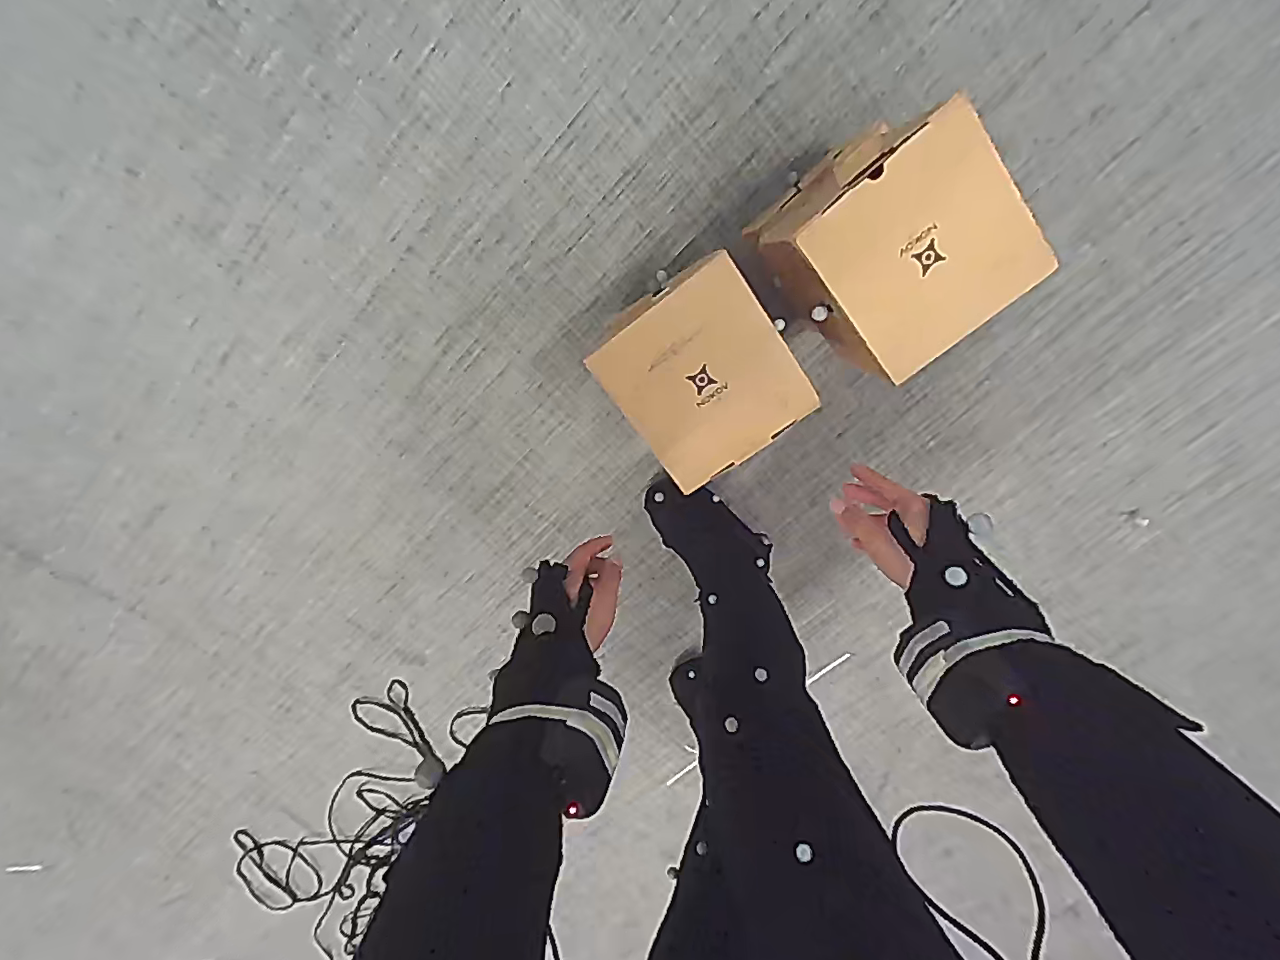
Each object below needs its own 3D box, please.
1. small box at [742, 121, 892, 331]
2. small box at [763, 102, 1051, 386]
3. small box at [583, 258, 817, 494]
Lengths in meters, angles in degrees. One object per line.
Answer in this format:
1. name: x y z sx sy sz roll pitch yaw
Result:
1. small box: 0.252 -0.303 0.693 0.168 0.176 0.179 -38 105 14
2. small box: 0.250 -0.227 0.548 0.168 0.176 0.179 -39 106 15
3. small box: 0.061 -0.120 0.595 0.168 0.176 0.179 -35 106 12
